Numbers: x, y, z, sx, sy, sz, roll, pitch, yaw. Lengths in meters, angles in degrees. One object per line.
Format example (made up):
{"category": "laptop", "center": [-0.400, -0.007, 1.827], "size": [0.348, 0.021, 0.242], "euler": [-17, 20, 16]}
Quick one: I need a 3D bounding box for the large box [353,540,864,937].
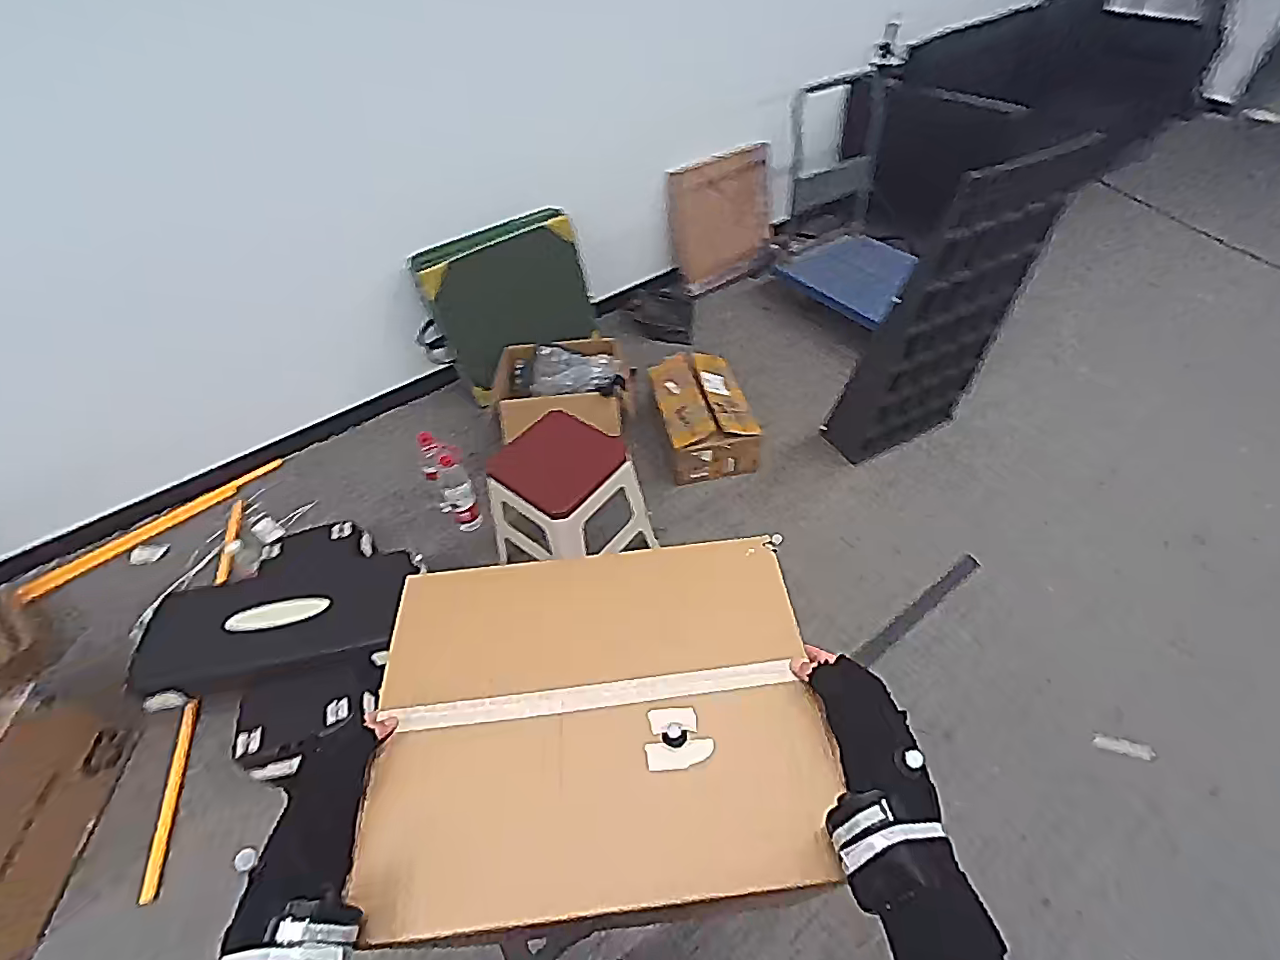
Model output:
{"category": "large box", "center": [-0.031, 0.298, 0.621], "size": [0.408, 0.320, 0.320], "euler": [-4, 49, -2]}
